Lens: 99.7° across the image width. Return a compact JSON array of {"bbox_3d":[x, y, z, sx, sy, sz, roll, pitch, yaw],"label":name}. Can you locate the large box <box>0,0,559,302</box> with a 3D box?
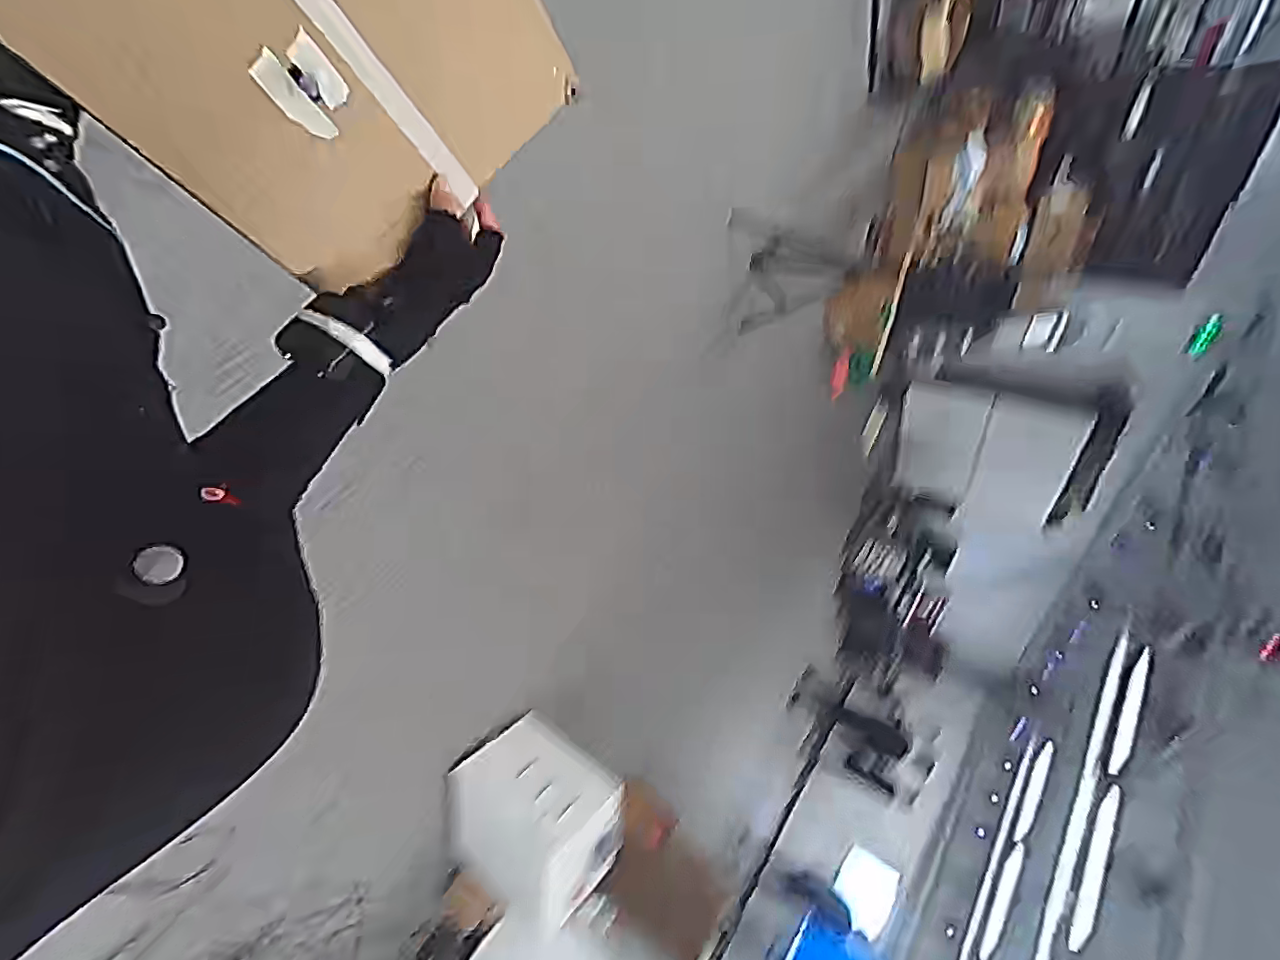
[{"bbox_3d":[-0.353,-0.432,0.439,0.320,0.320,0.408,-49,144,-4],"label":"large box"}]
